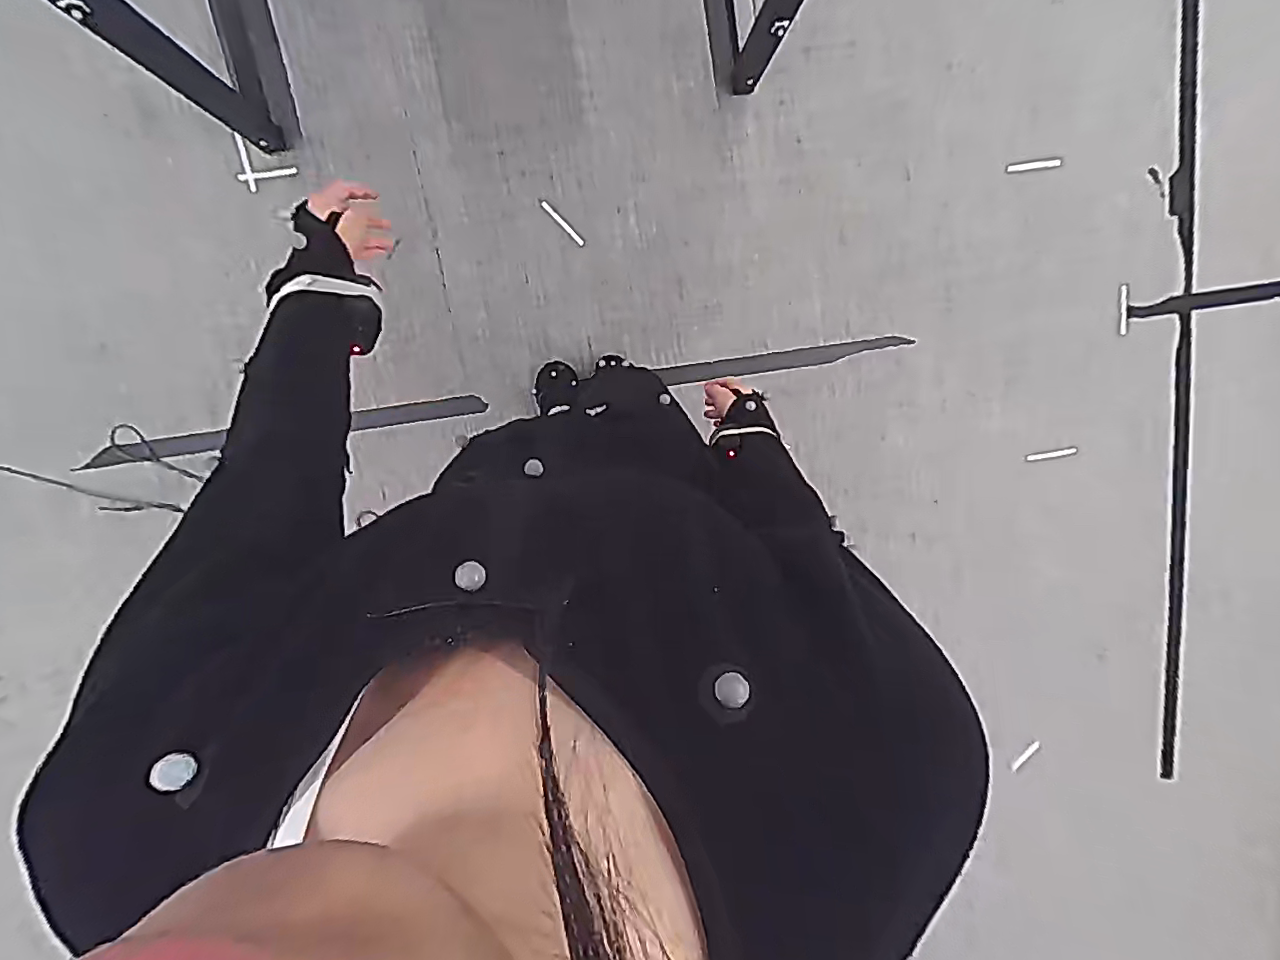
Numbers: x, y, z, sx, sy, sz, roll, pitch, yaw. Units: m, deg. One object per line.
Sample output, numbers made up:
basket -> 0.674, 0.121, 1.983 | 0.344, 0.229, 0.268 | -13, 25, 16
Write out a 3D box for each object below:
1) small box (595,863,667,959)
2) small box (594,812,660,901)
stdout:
small box -> -0.029, 1.170, 1.453 | 0.168, 0.176, 0.179 | -8, 102, -4
small box -> -0.043, 1.129, 1.612 | 0.168, 0.176, 0.179 | -12, 102, -3
